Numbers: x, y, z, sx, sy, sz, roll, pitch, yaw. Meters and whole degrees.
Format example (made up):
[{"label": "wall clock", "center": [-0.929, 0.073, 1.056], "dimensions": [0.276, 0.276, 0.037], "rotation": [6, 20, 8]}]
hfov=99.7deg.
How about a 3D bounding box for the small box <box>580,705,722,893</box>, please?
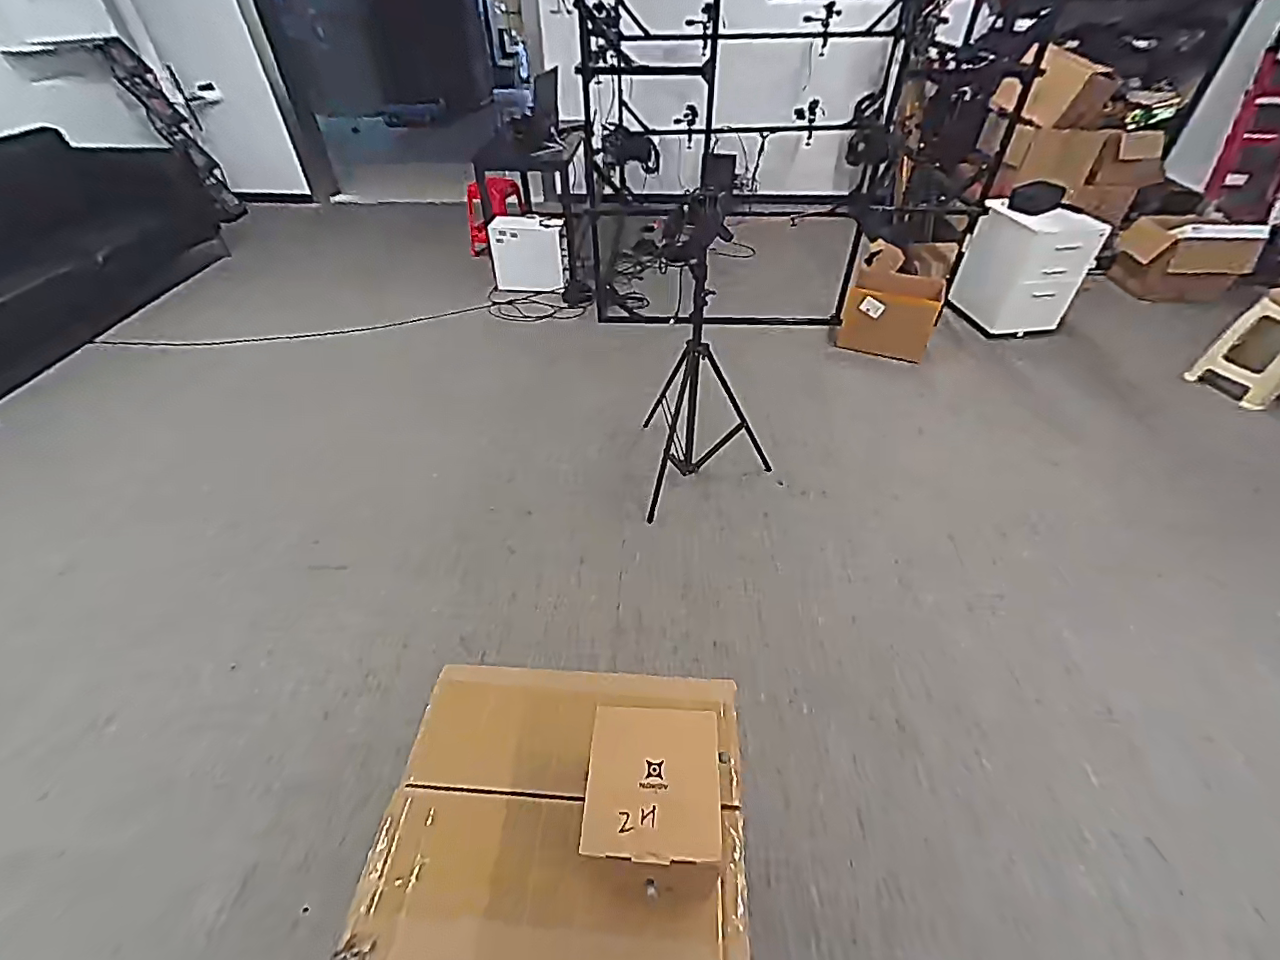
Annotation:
[{"label": "small box", "center": [0.018, 0.428, 0.729], "dimensions": [0.168, 0.176, 0.179], "rotation": [1, 44, 3]}]
